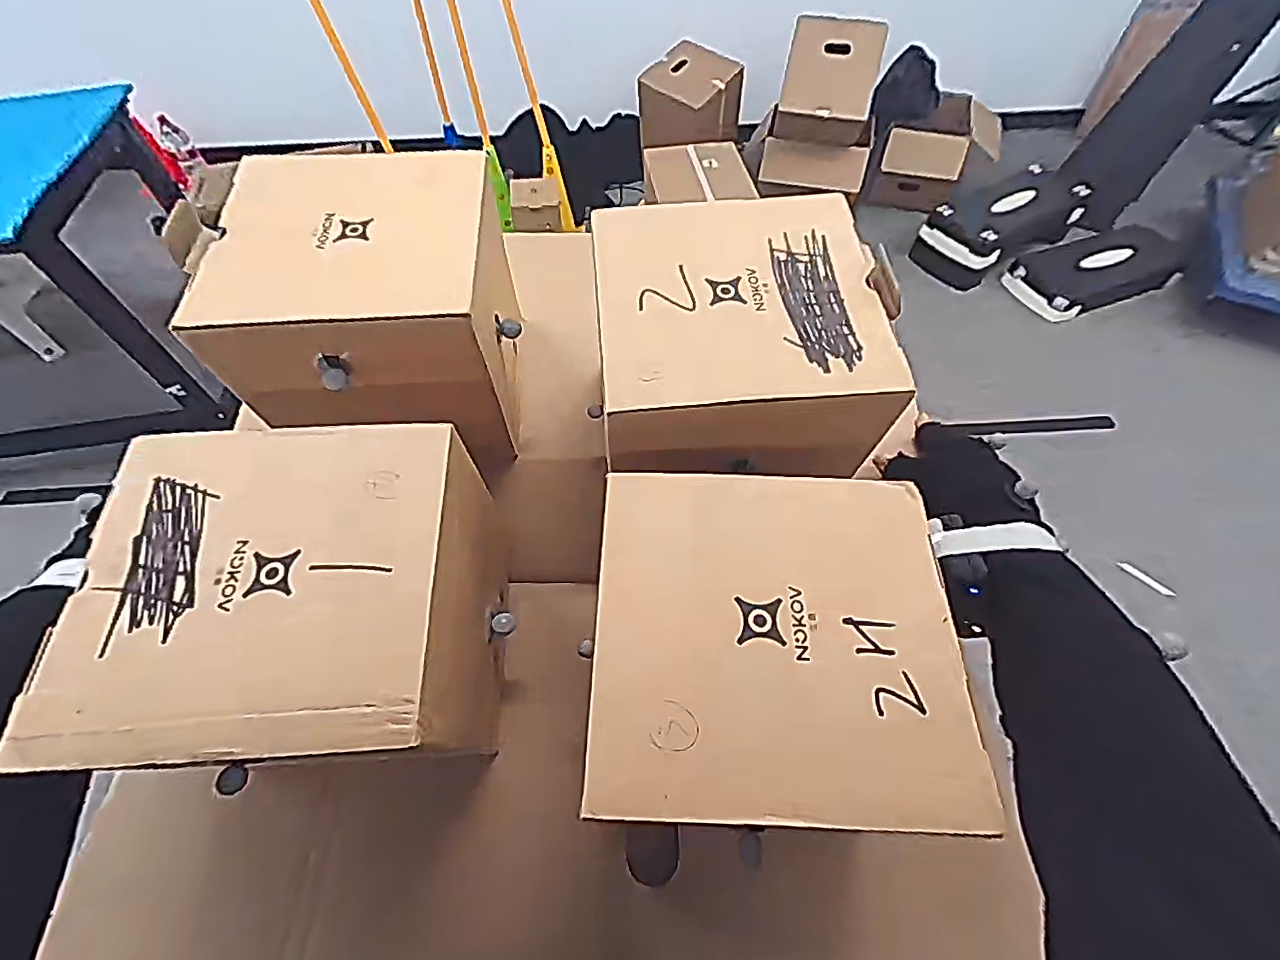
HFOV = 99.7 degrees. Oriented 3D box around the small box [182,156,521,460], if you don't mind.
[{"bbox_3d":[-0.197,-0.128,0.436,0.179,0.176,0.168,-4,61,-2],"label":"small box"}]
